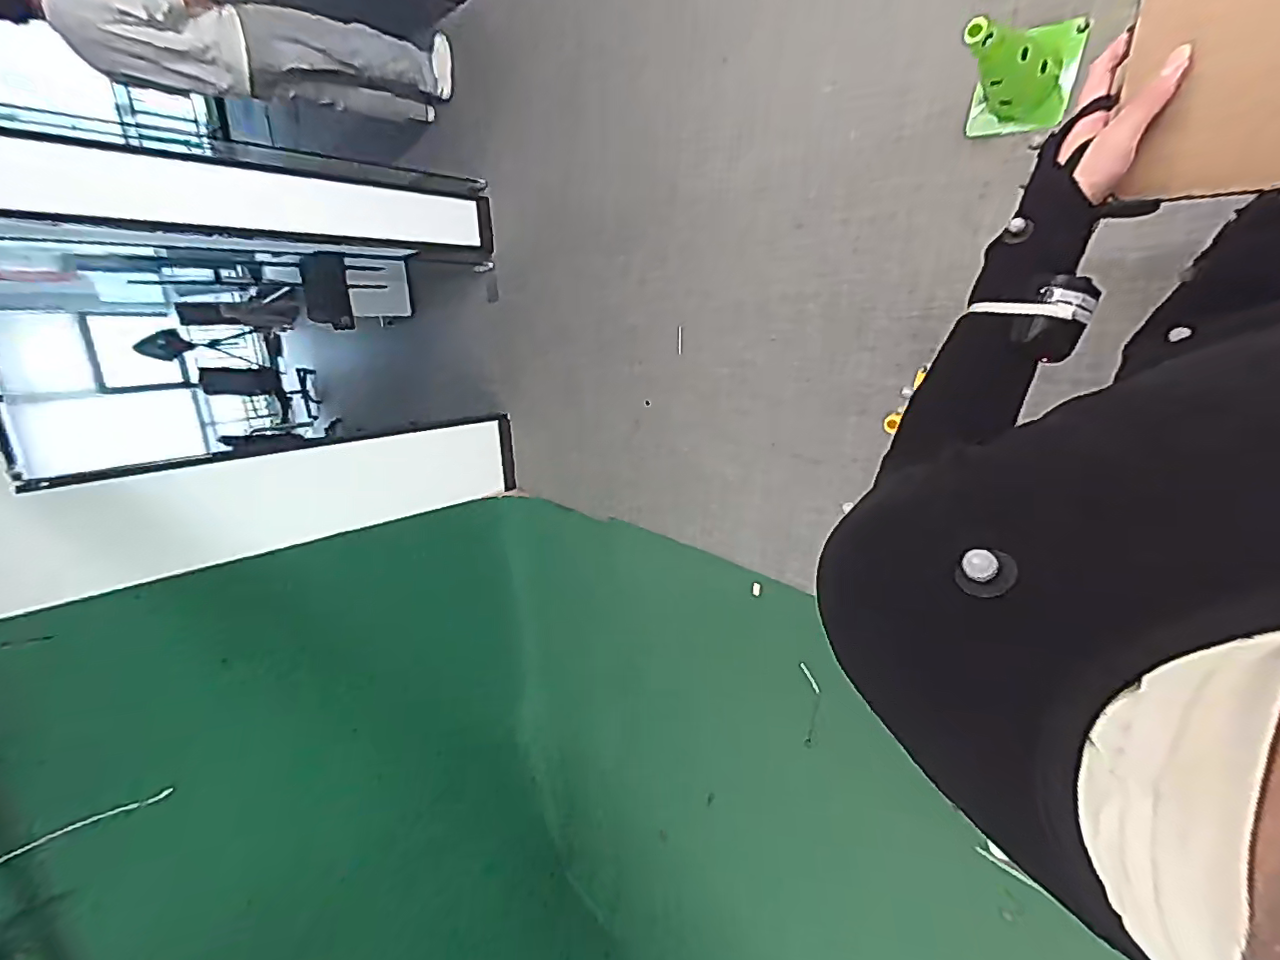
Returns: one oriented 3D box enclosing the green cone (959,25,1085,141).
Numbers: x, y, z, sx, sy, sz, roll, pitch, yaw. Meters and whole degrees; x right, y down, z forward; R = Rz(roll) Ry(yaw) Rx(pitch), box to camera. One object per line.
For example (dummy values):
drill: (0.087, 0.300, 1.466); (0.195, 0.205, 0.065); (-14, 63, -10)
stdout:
green cone: (0.752, -0.867, 1.136); (0.200, 0.368, 0.202); (23, 120, 42)
